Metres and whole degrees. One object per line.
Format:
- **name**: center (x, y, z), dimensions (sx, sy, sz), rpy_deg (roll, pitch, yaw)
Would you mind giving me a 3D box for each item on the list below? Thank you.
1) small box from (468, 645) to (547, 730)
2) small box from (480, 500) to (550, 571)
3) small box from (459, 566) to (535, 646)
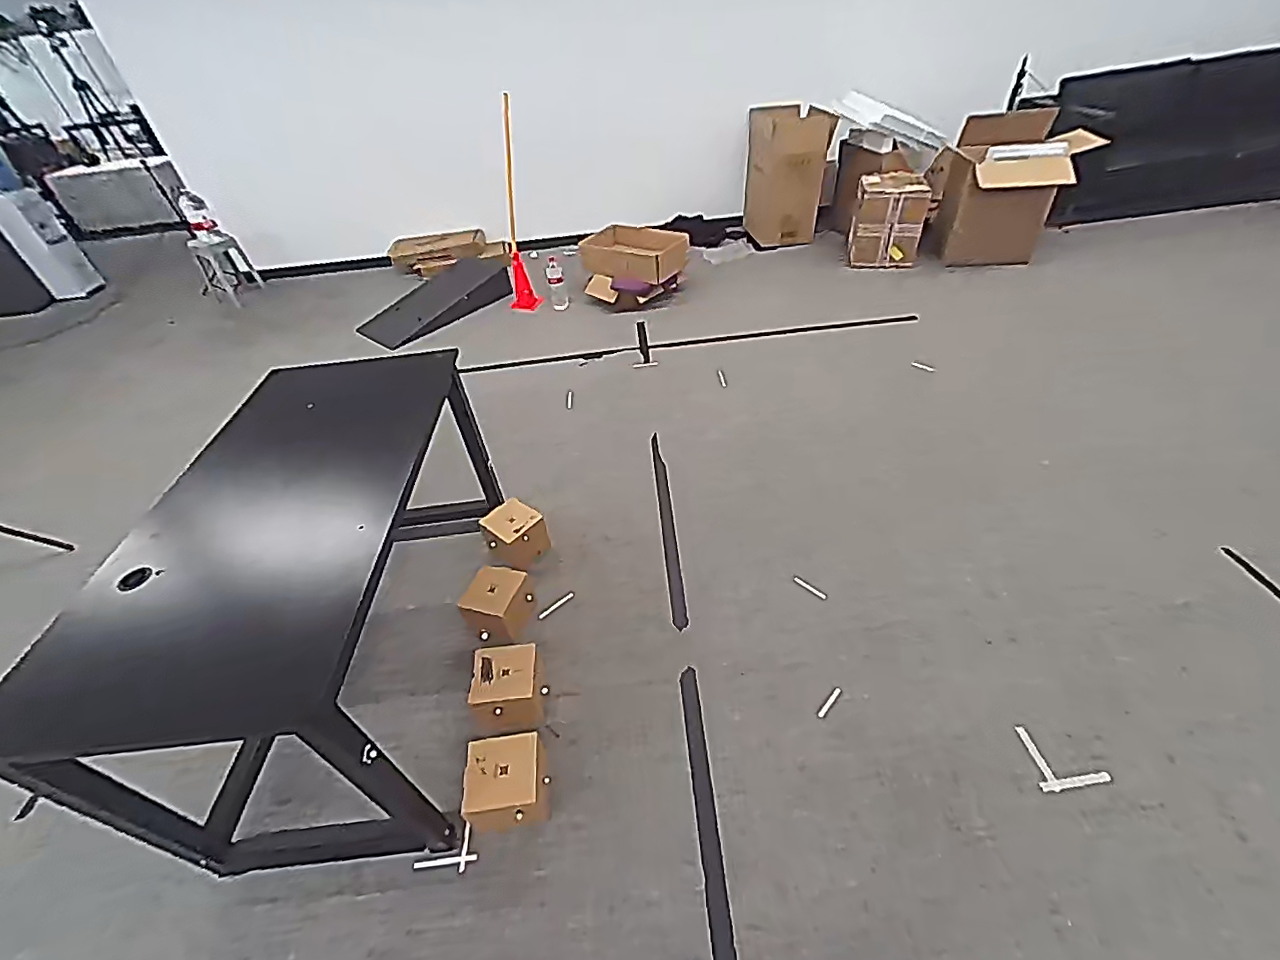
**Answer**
- **small box**: center (-0.373, 0.599, 1.555), dimensions (0.179, 0.176, 0.168), rpy_deg (-6, 42, -1)
- **small box**: center (-0.459, 0.208, 1.999), dimensions (0.179, 0.176, 0.168), rpy_deg (26, 51, 31)
- **small box**: center (-0.460, 0.413, 1.776), dimensions (0.168, 0.176, 0.179), rpy_deg (7, 44, 16)
